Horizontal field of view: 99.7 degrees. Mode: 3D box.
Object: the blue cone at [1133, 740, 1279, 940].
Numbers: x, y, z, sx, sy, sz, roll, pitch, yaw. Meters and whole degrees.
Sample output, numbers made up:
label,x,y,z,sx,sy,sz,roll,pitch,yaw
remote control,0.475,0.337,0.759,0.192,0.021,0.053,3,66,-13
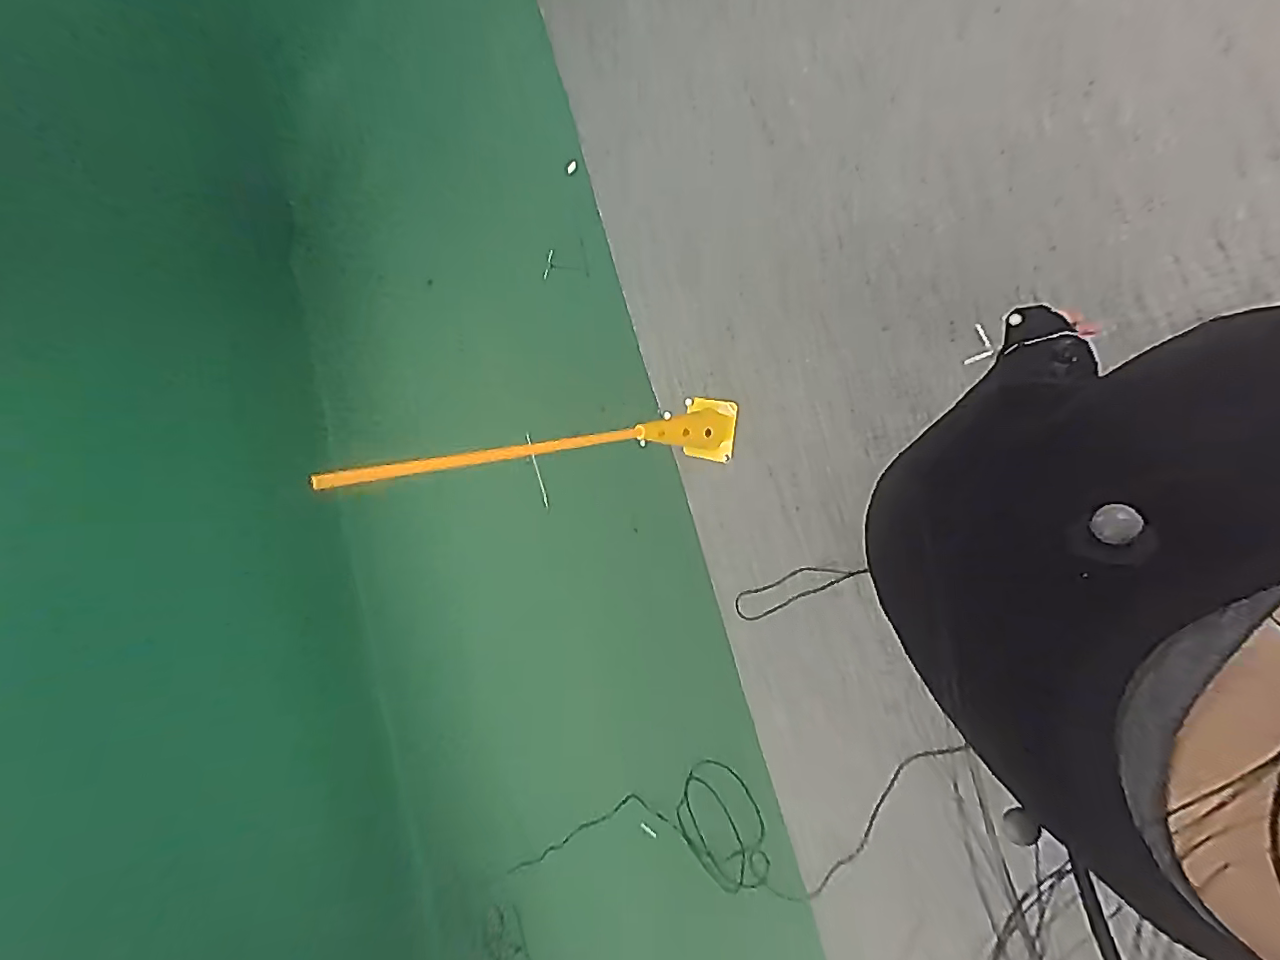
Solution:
label,x,y,z,sx,sy,sz,roll,pitch,yaw
blue cone,1.043,0.652,0.955,0.193,0.380,0.192,33,115,32
